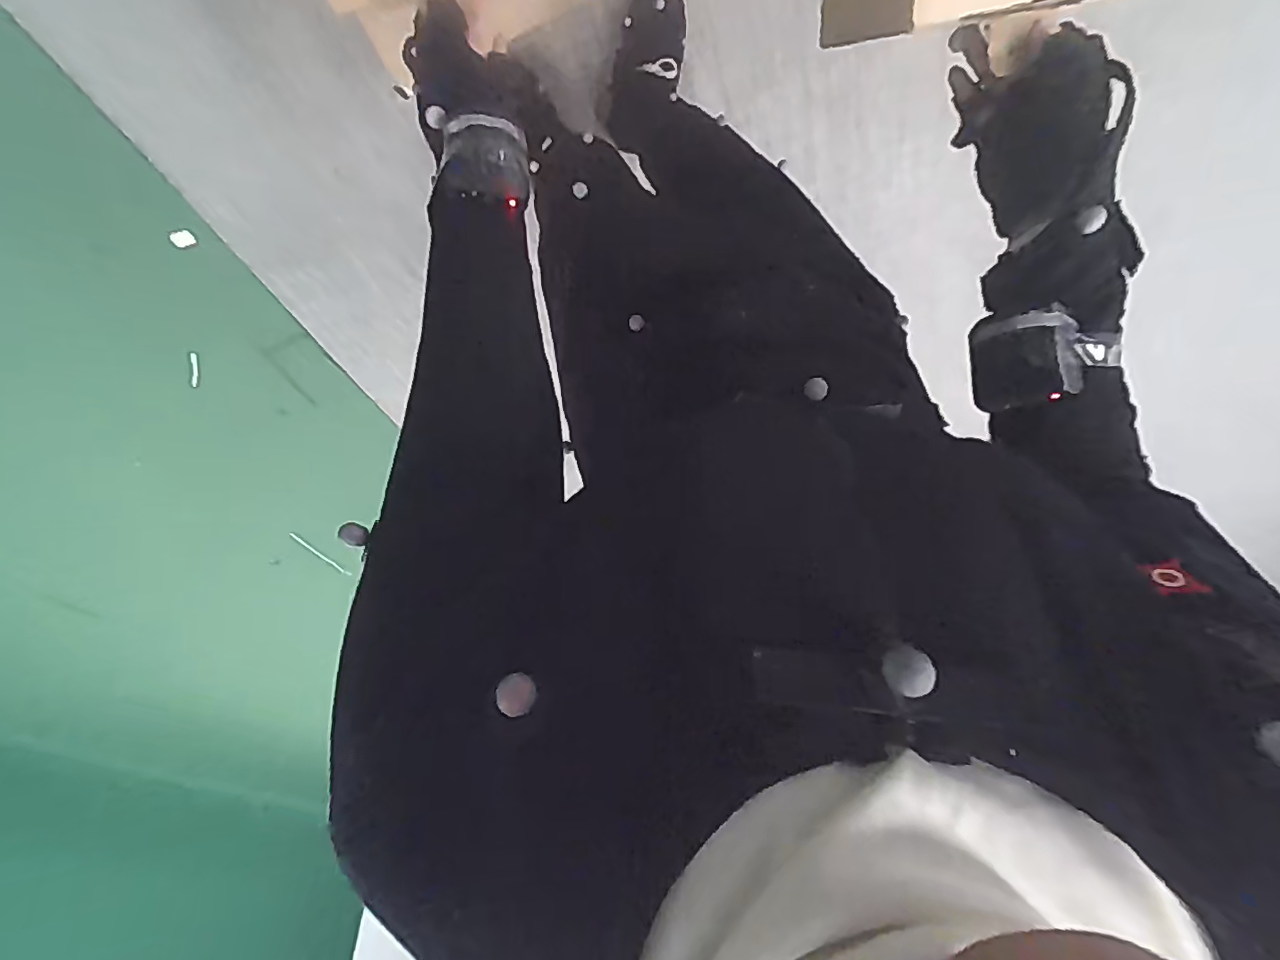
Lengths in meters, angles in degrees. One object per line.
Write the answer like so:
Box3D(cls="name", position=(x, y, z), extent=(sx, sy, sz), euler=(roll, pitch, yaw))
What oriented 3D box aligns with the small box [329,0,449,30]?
Box3D(cls="small box", position=(-0.189, -0.495, 0.425), extent=(0.168, 0.176, 0.179), euler=(-16, 131, 8))
